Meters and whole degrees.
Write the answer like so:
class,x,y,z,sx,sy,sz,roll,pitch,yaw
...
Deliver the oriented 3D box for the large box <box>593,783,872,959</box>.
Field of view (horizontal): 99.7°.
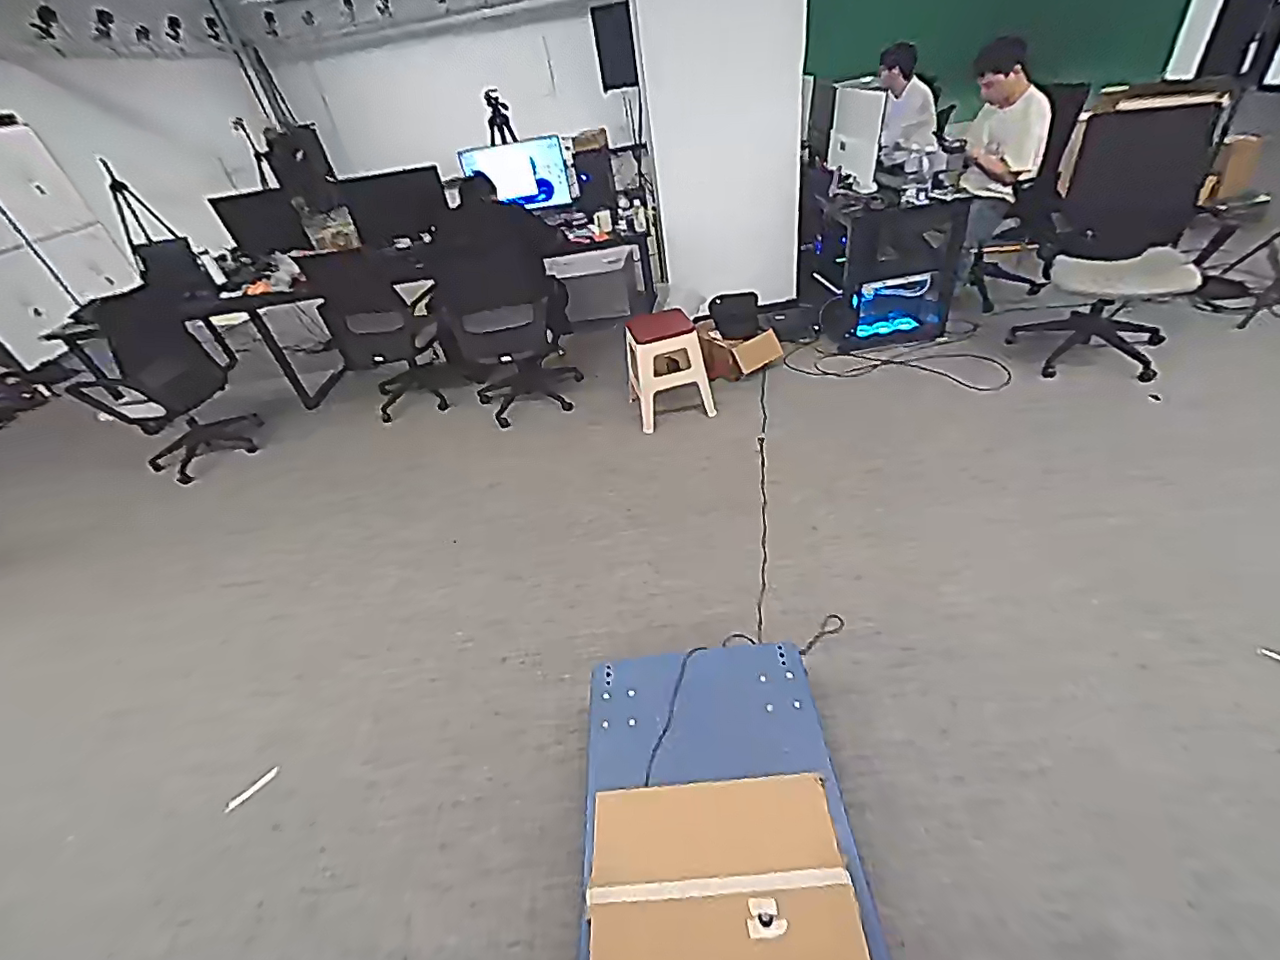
class,x,y,z,sx,sy,sz,roll,pitch,yaw
large box,0.143,0.761,0.916,0.408,0.320,0.320,-7,38,4
